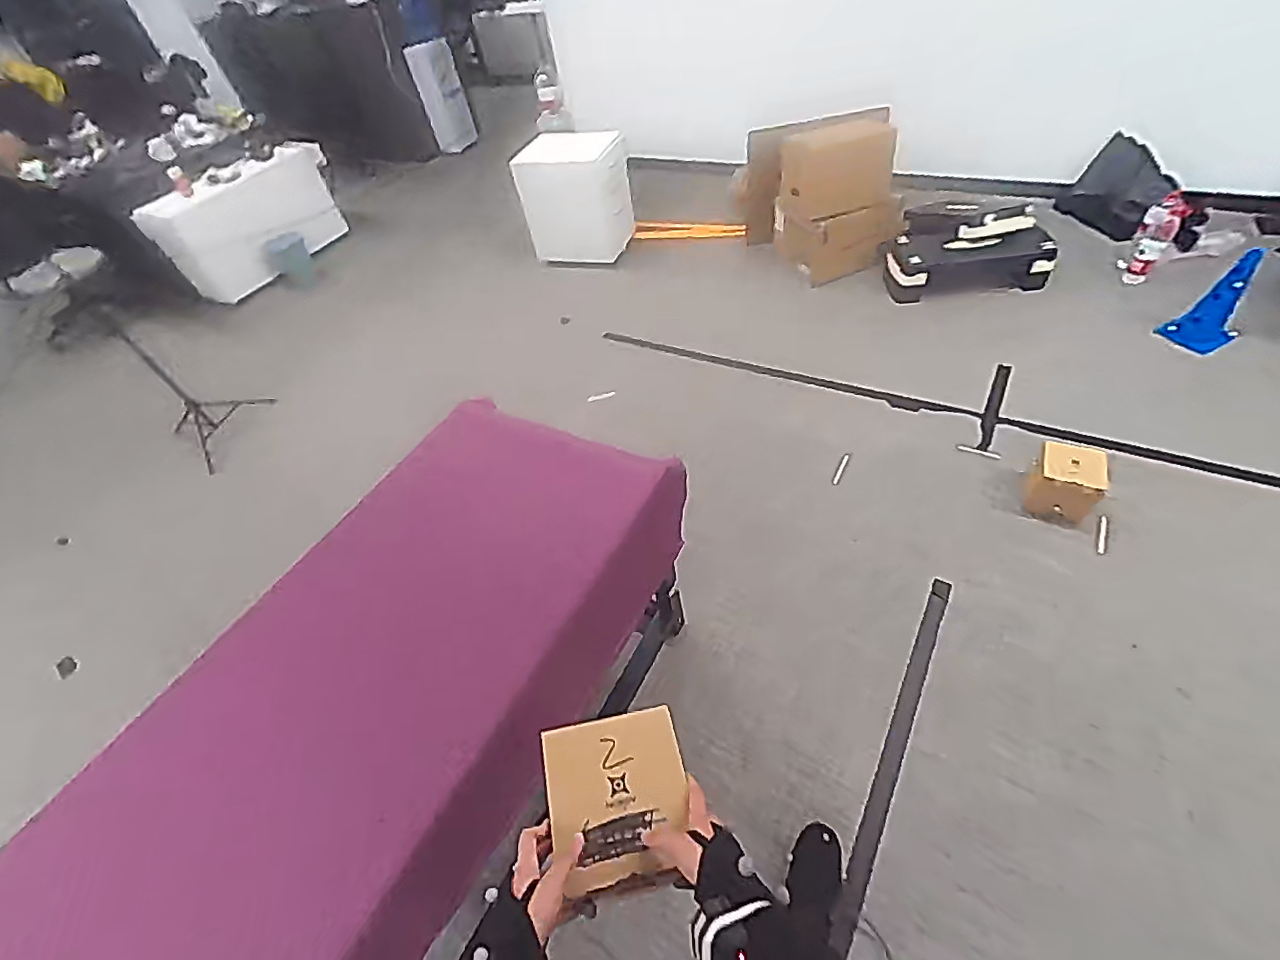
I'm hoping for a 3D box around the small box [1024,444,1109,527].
[{"bbox_3d":[1.366,0.018,1.737,0.168,0.176,0.179,17,56,23],"label":"small box"}]
